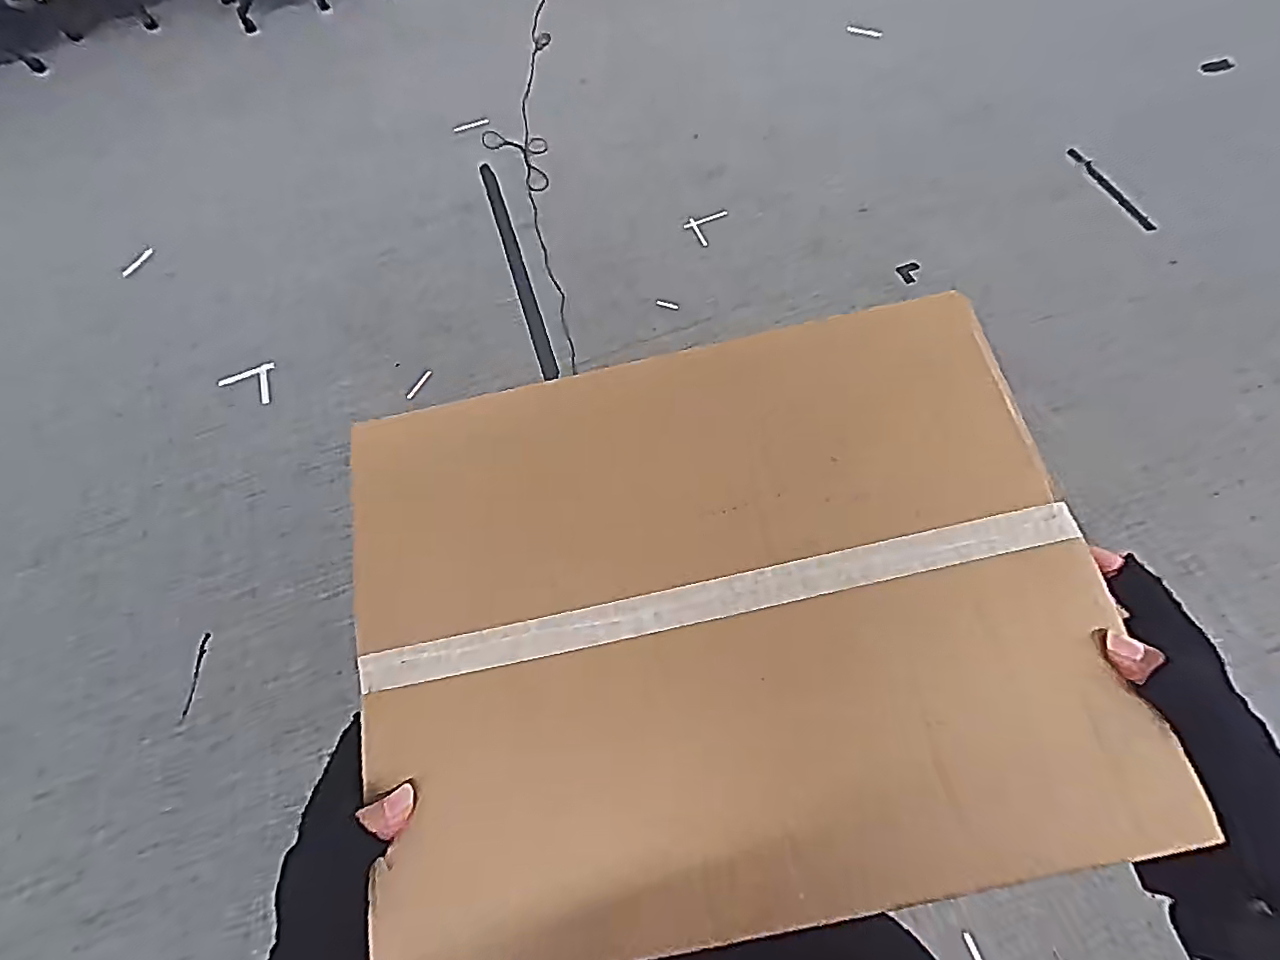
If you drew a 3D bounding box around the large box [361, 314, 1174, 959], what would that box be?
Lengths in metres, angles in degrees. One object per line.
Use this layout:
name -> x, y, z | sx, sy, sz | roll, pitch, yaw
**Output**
large box -> 0.053, 0.120, 0.452 | 0.408, 0.320, 0.320 | -13, 71, 1
